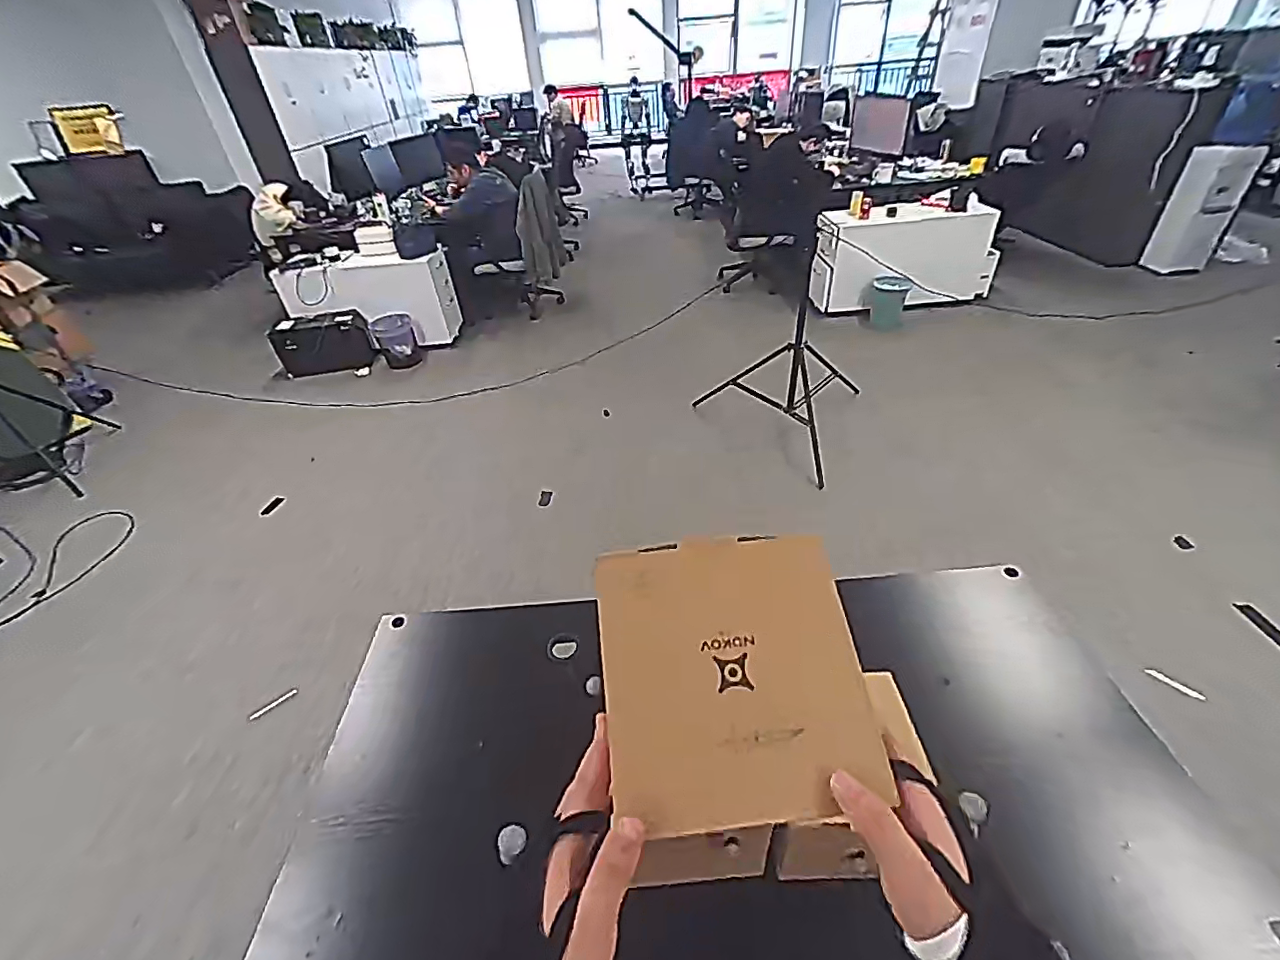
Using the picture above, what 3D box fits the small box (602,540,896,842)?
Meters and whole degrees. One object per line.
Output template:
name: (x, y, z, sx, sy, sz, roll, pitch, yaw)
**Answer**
small box: (0.058, 0.164, 0.418, 0.168, 0.176, 0.179, -5, 60, -3)
